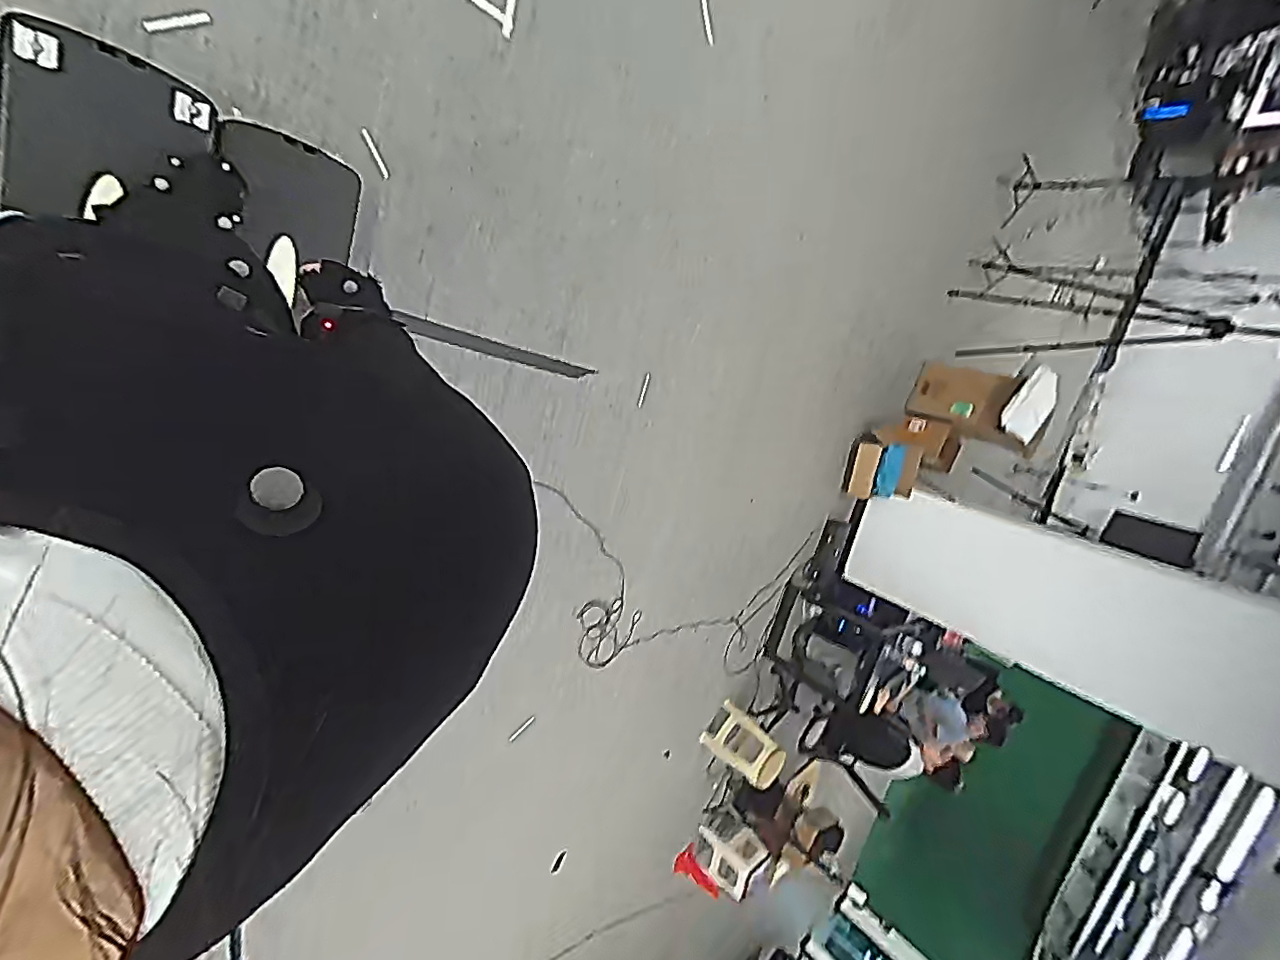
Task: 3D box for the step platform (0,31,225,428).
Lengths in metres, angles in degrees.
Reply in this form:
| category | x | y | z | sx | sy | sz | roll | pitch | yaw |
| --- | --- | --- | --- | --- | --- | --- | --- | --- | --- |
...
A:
| category | x | y | z | sx | sy | sz | roll | pitch | yaw |
| --- | --- | --- | --- | --- | --- | --- | --- | --- | --- |
| step platform | -1.034 | -0.445 | 1.067 | 0.286 | 0.204 | 0.684 | 3 | 105 | -46 |
